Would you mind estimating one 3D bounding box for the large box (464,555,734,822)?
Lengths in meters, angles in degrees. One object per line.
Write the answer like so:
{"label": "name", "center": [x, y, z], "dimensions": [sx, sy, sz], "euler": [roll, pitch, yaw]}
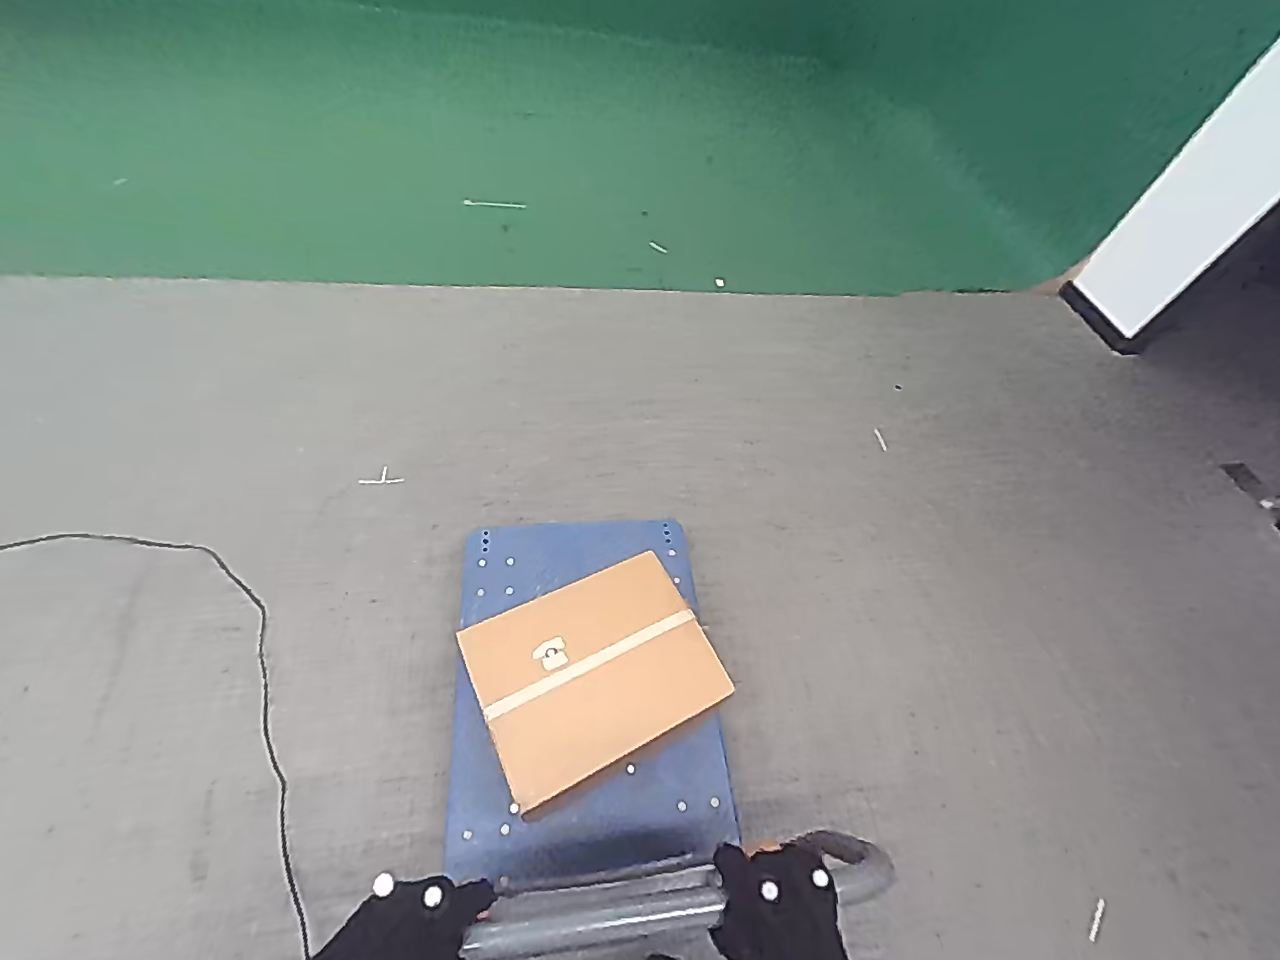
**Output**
{"label": "large box", "center": [-0.087, 0.417, 1.086], "dimensions": [0.408, 0.320, 0.320], "euler": [-22, 60, -20]}
